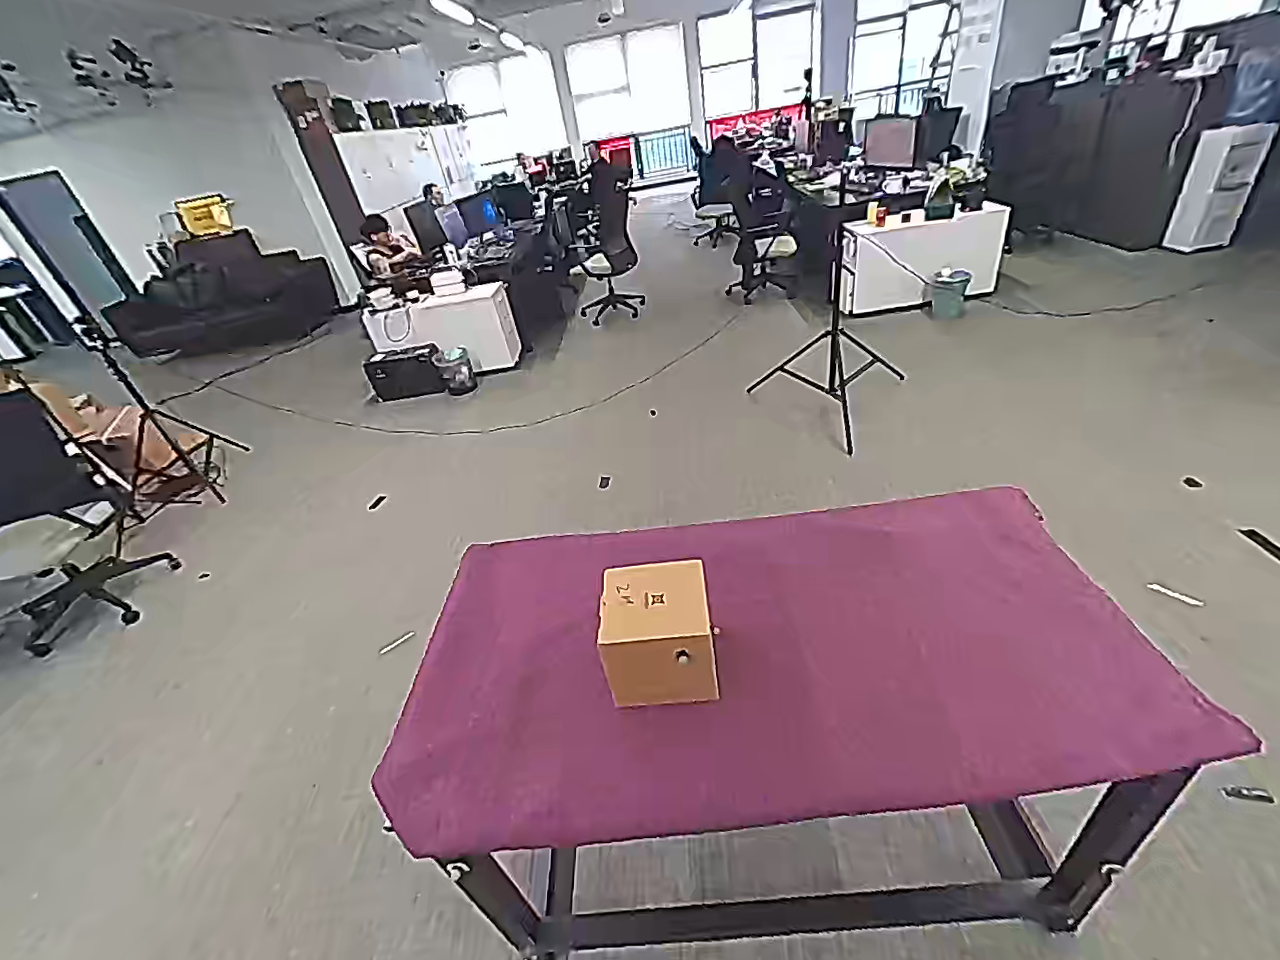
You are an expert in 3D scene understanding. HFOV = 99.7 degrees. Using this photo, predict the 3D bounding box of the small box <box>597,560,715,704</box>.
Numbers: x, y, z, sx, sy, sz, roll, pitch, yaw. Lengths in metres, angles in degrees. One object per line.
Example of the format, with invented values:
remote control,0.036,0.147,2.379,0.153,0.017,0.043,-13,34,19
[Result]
small box,0.034,0.260,0.923,0.179,0.176,0.168,-7,34,6
